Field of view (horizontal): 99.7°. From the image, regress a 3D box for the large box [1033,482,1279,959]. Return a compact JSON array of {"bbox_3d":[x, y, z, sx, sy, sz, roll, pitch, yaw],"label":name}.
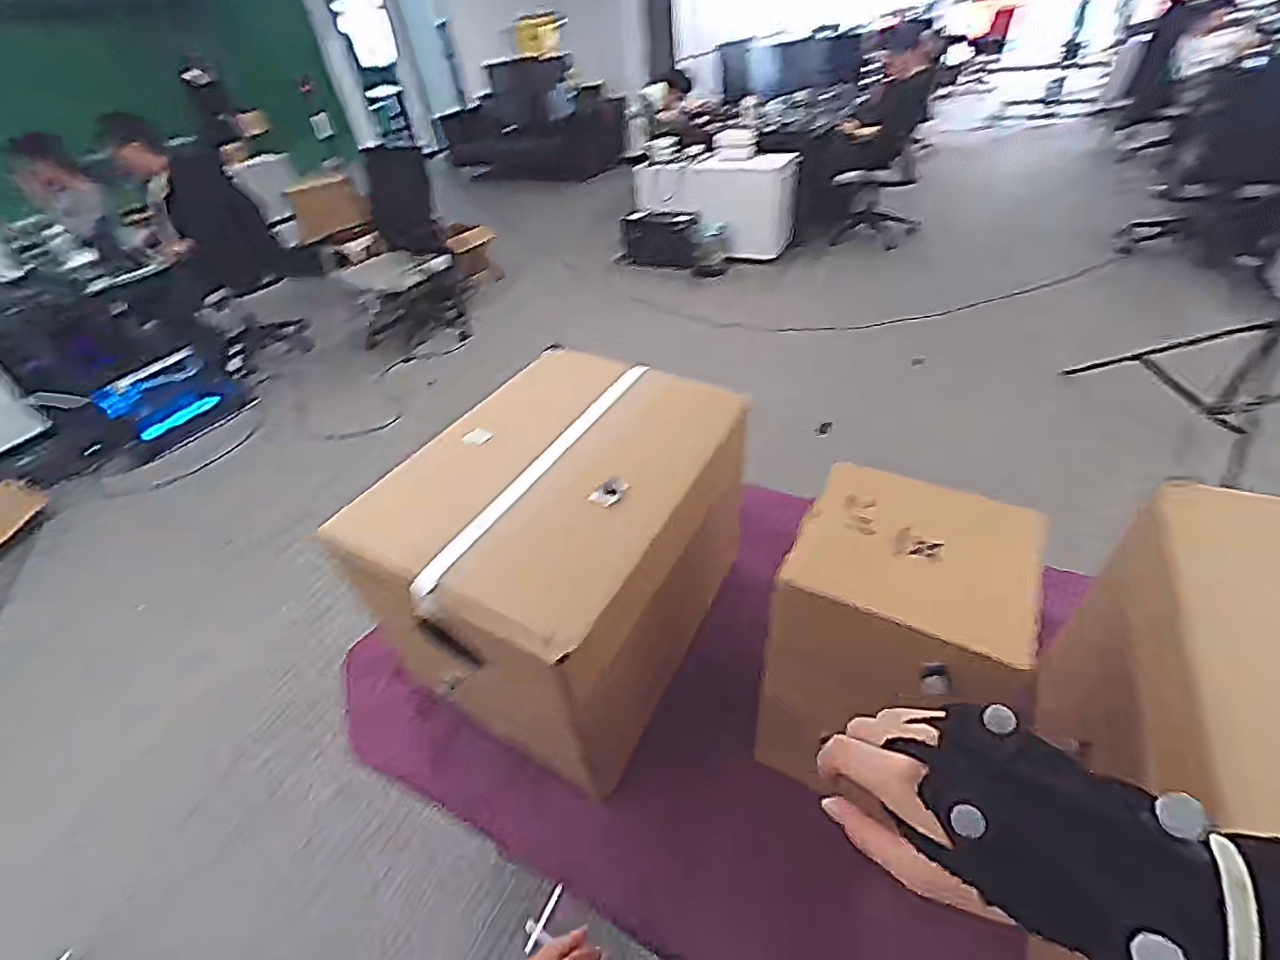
[{"bbox_3d":[0.529,0.269,0.410,0.320,0.320,0.408,17,44,24],"label":"large box"}]
